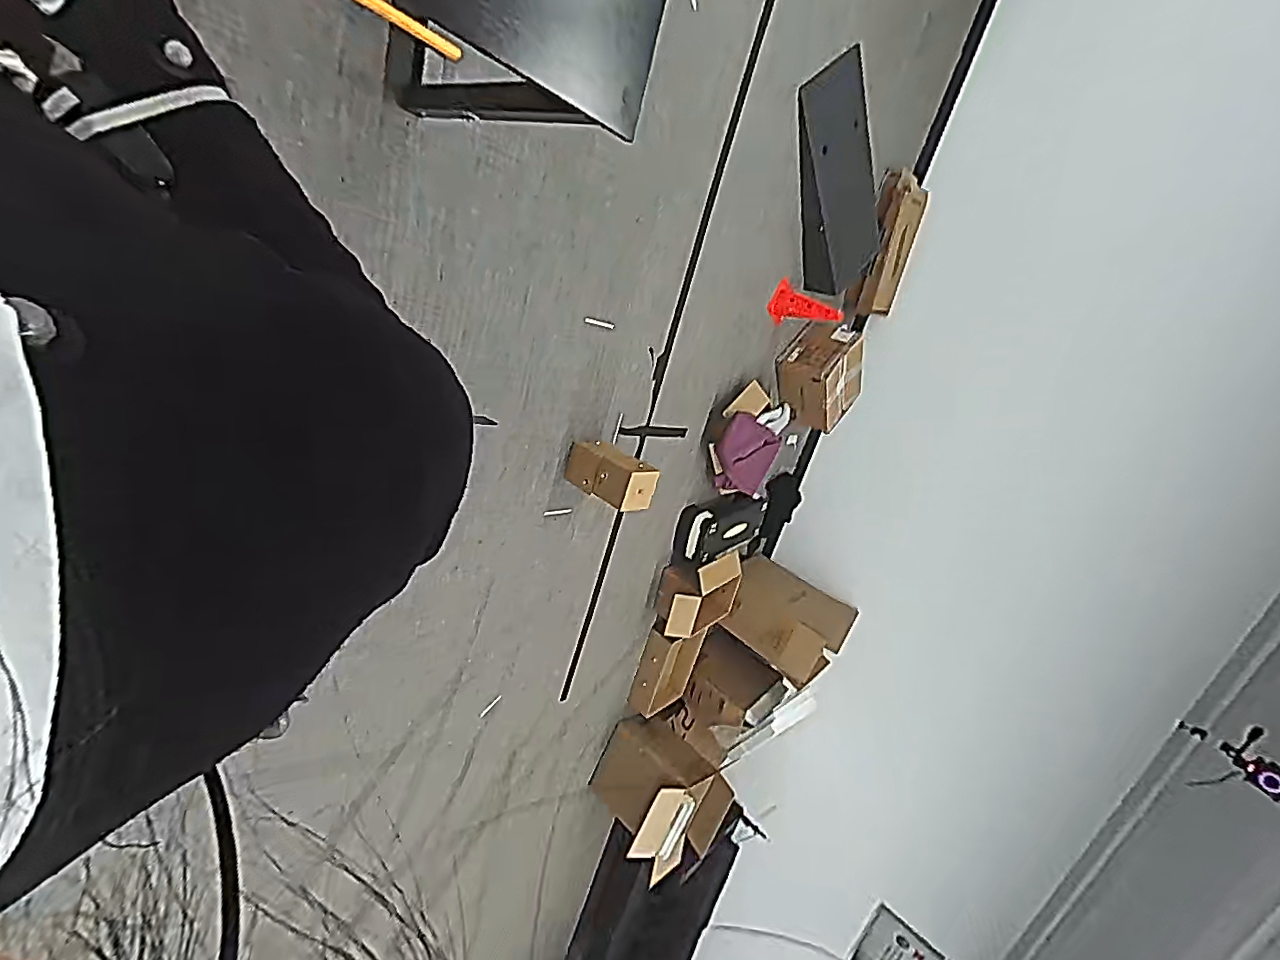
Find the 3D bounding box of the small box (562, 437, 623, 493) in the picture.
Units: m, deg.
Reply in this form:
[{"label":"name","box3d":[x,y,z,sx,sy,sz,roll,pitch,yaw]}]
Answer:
[{"label":"small box","box3d":[-0.199,-0.066,2.231,0.168,0.176,0.179,-7,120,-50]}]

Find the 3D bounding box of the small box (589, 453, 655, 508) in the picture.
[{"label":"small box","box3d":[-0.074,-0.003,2.147,0.179,0.176,0.168,-3,117,-49]}]
